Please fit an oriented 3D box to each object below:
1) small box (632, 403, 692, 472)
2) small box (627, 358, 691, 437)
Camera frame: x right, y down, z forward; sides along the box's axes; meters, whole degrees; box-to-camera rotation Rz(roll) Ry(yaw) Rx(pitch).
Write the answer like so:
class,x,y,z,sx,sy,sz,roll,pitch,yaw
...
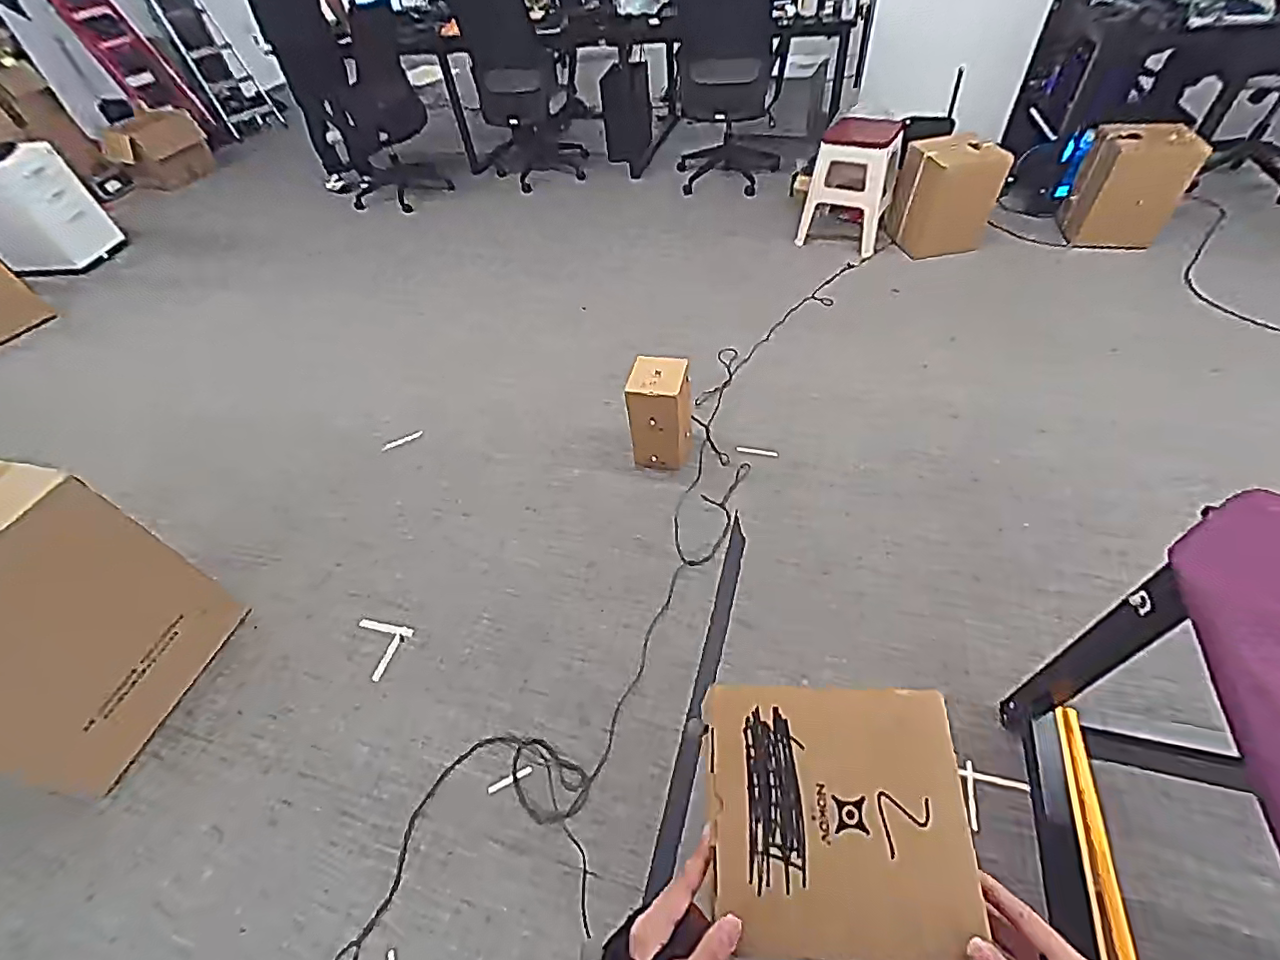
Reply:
class,x,y,z,sx,sy,sz,roll,pitch,yaw
small box,0.079,-0.155,1.842,0.168,0.176,0.179,9,52,14
small box,0.065,-0.262,1.717,0.168,0.176,0.179,7,51,14
